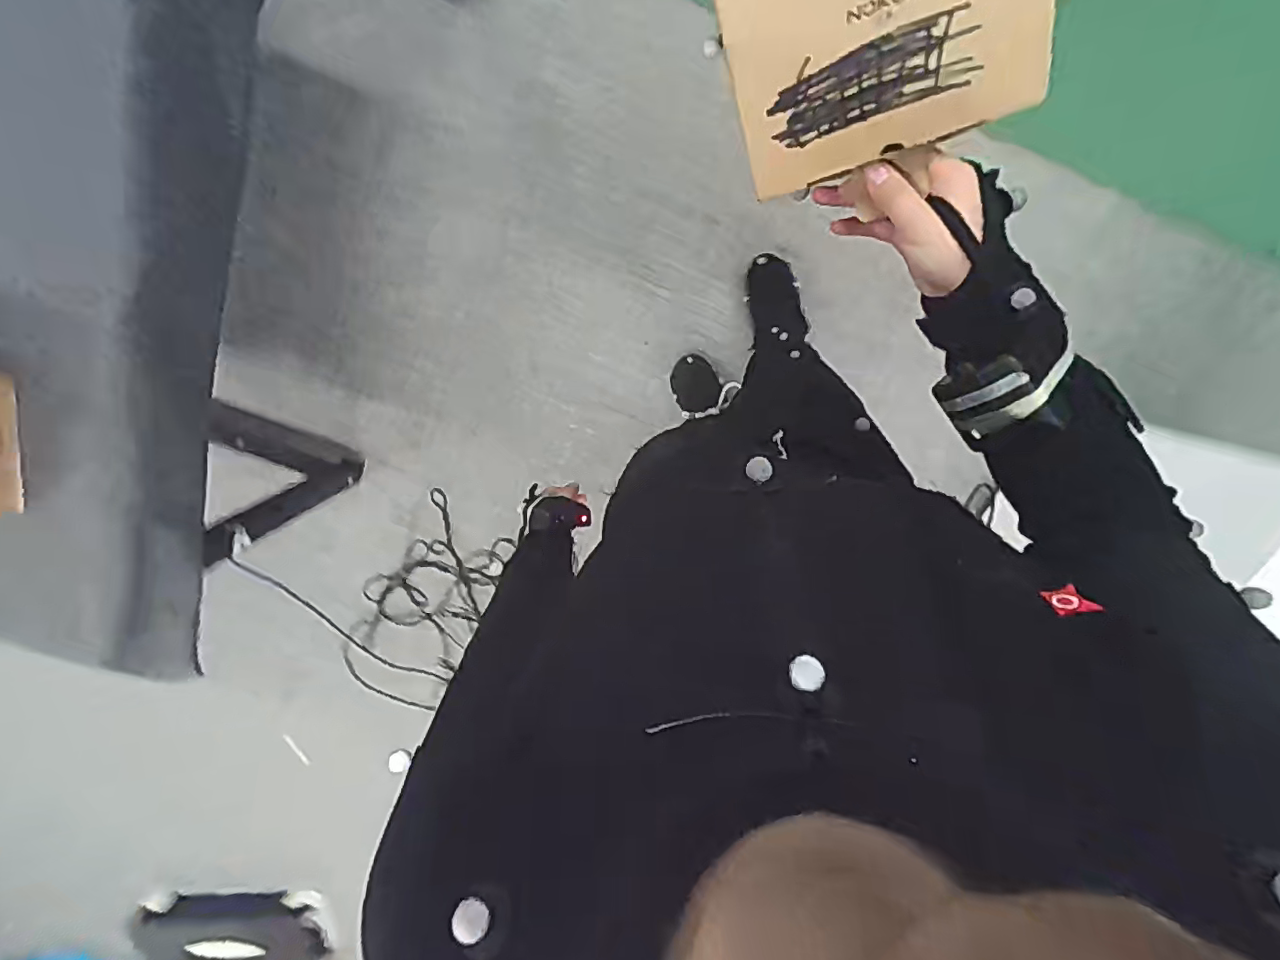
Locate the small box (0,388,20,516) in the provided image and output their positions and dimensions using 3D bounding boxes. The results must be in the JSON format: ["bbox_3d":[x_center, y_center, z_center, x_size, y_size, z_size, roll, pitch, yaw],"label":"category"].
[{"bbox_3d":[-0.817,-0.028,0.555,0.179,0.176,0.168,15,107,-3],"label":"small box"}]
